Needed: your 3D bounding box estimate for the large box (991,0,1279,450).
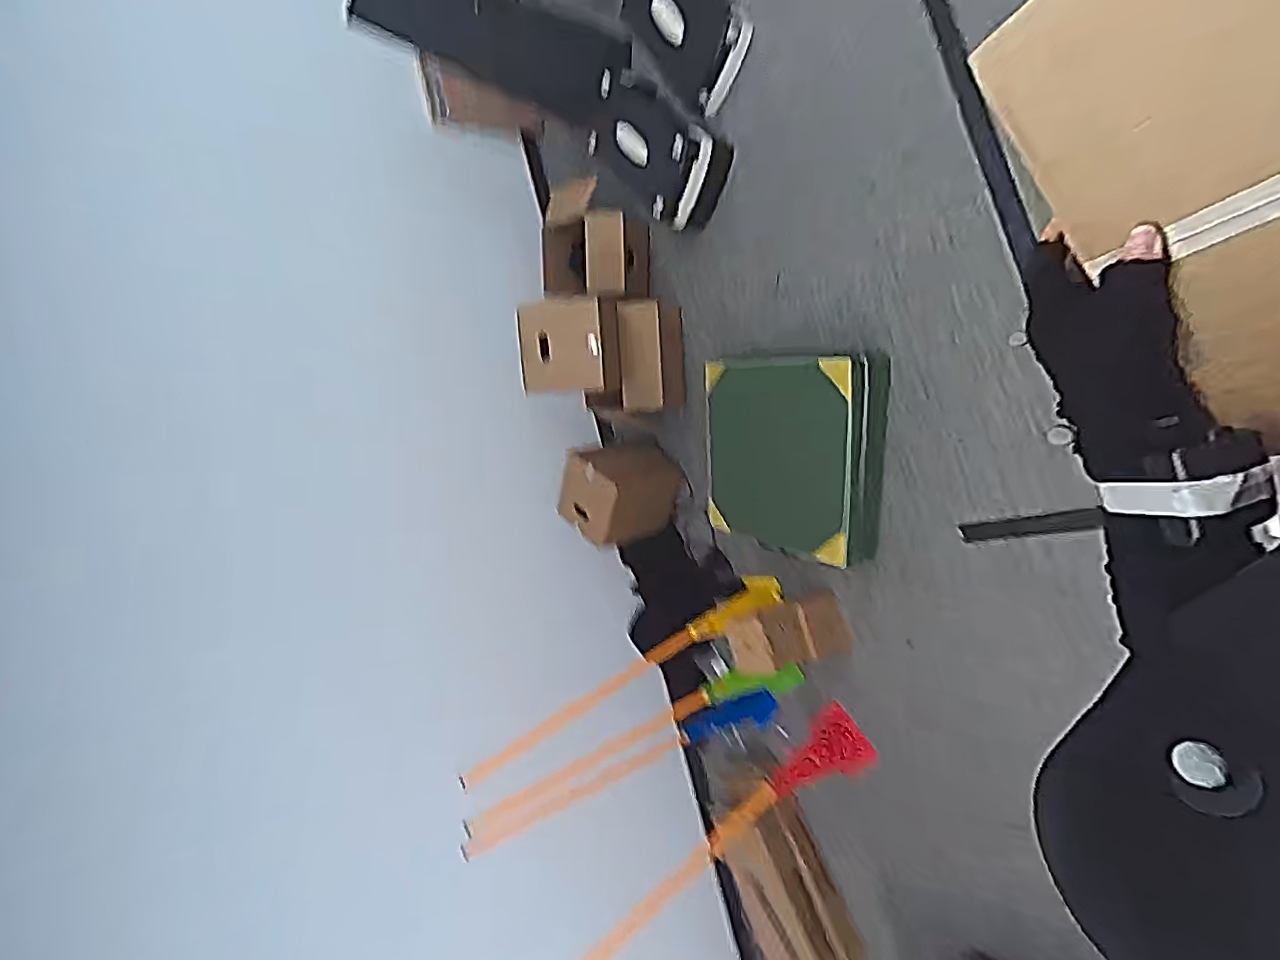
[{"bbox_3d":[0.487,-0.258,0.247,0.320,0.320,0.408,53,154,-10],"label":"large box"}]
